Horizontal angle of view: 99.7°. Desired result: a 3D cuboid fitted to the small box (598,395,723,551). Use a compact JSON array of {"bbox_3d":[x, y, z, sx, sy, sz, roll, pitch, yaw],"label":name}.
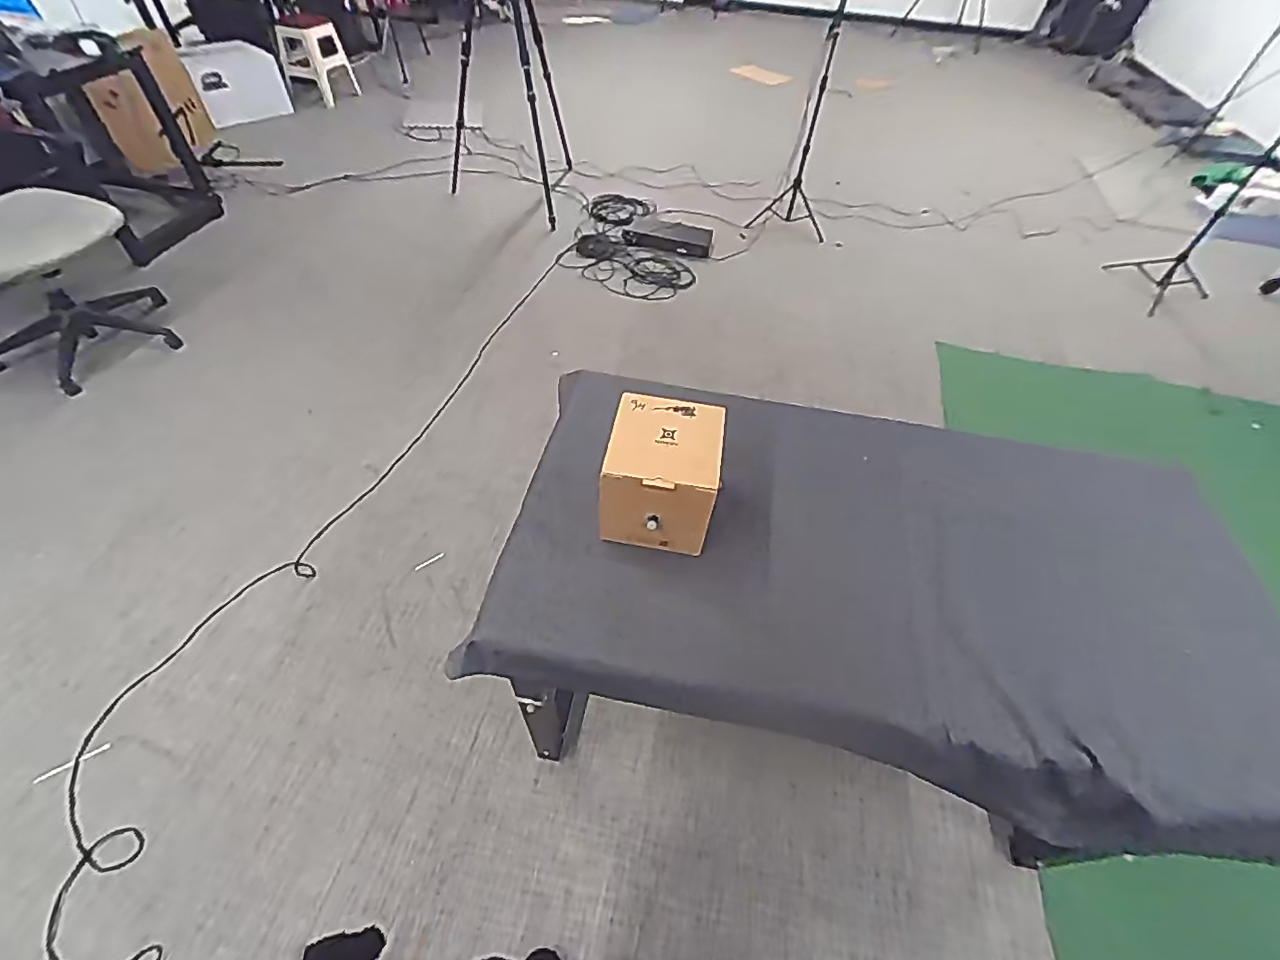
[{"bbox_3d":[0.034,-0.008,0.866,0.168,0.176,0.179,9,51,4],"label":"small box"}]
